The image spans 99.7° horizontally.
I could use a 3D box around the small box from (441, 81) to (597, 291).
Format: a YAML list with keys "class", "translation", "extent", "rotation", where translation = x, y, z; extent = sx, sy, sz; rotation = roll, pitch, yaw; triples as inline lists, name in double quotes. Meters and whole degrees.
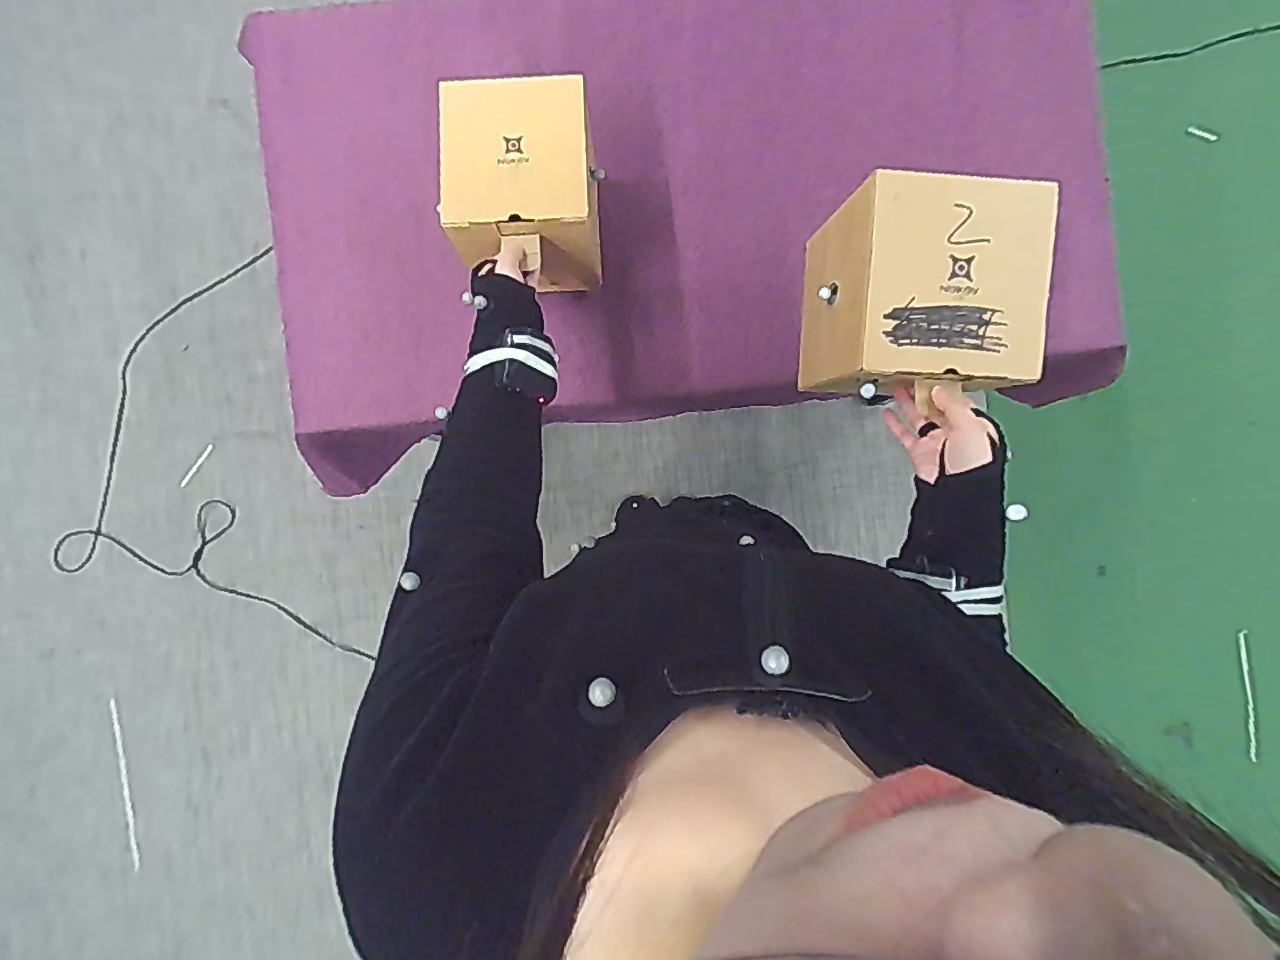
- class: "small box"
  translation: [-0.145, -0.365, 0.696]
  extent: [0.168, 0.176, 0.179]
  rotation: [-3, 85, 0]
